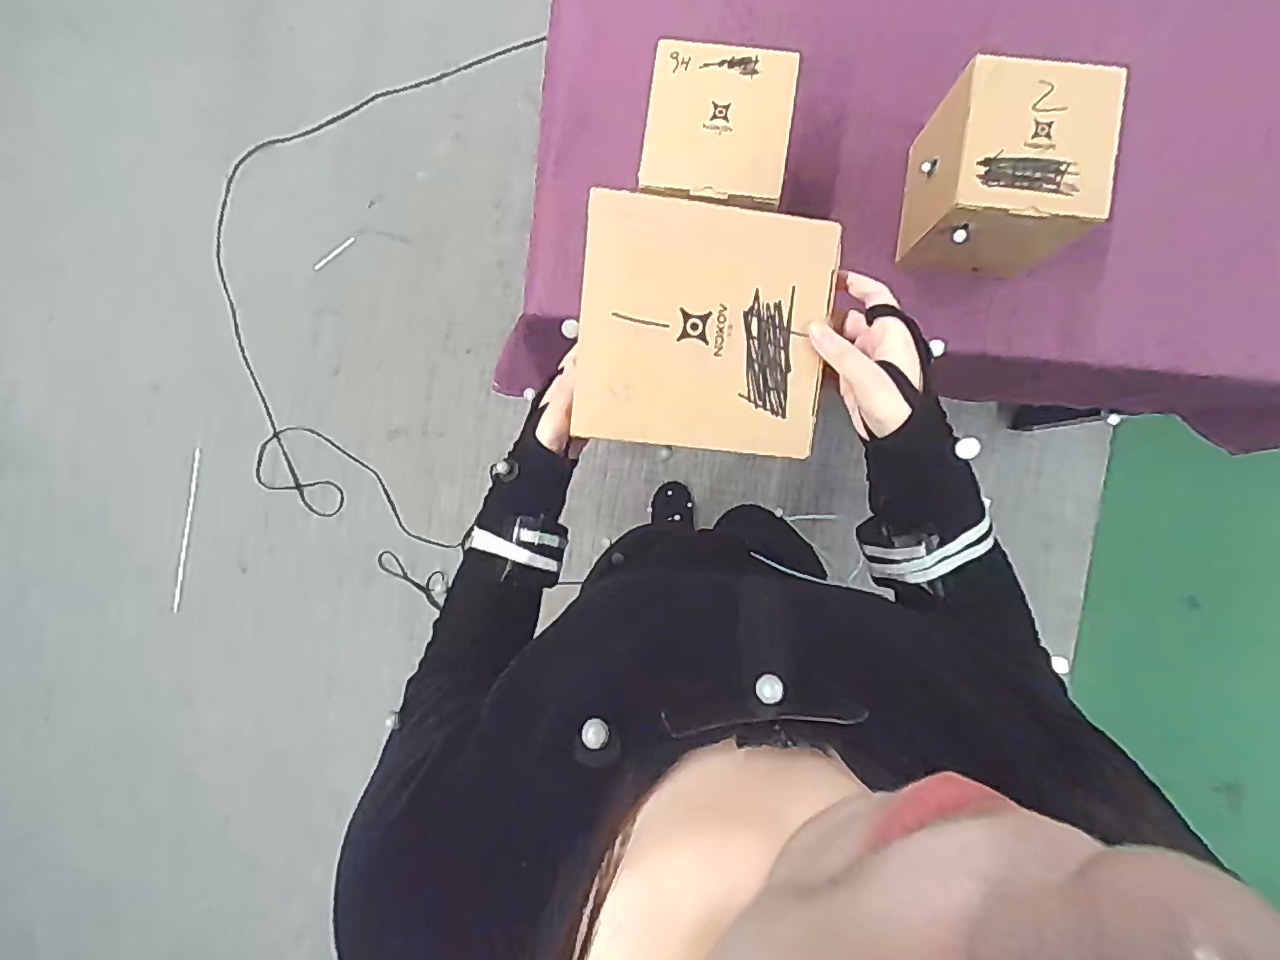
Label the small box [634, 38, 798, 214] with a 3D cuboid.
[{"bbox_3d":[0.090,-0.410,0.698,0.168,0.176,0.179,9,91,2],"label":"small box"}]

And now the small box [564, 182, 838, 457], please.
[{"bbox_3d":[0.034,-0.118,0.454,0.179,0.176,0.168,7,97,-7],"label":"small box"}]
